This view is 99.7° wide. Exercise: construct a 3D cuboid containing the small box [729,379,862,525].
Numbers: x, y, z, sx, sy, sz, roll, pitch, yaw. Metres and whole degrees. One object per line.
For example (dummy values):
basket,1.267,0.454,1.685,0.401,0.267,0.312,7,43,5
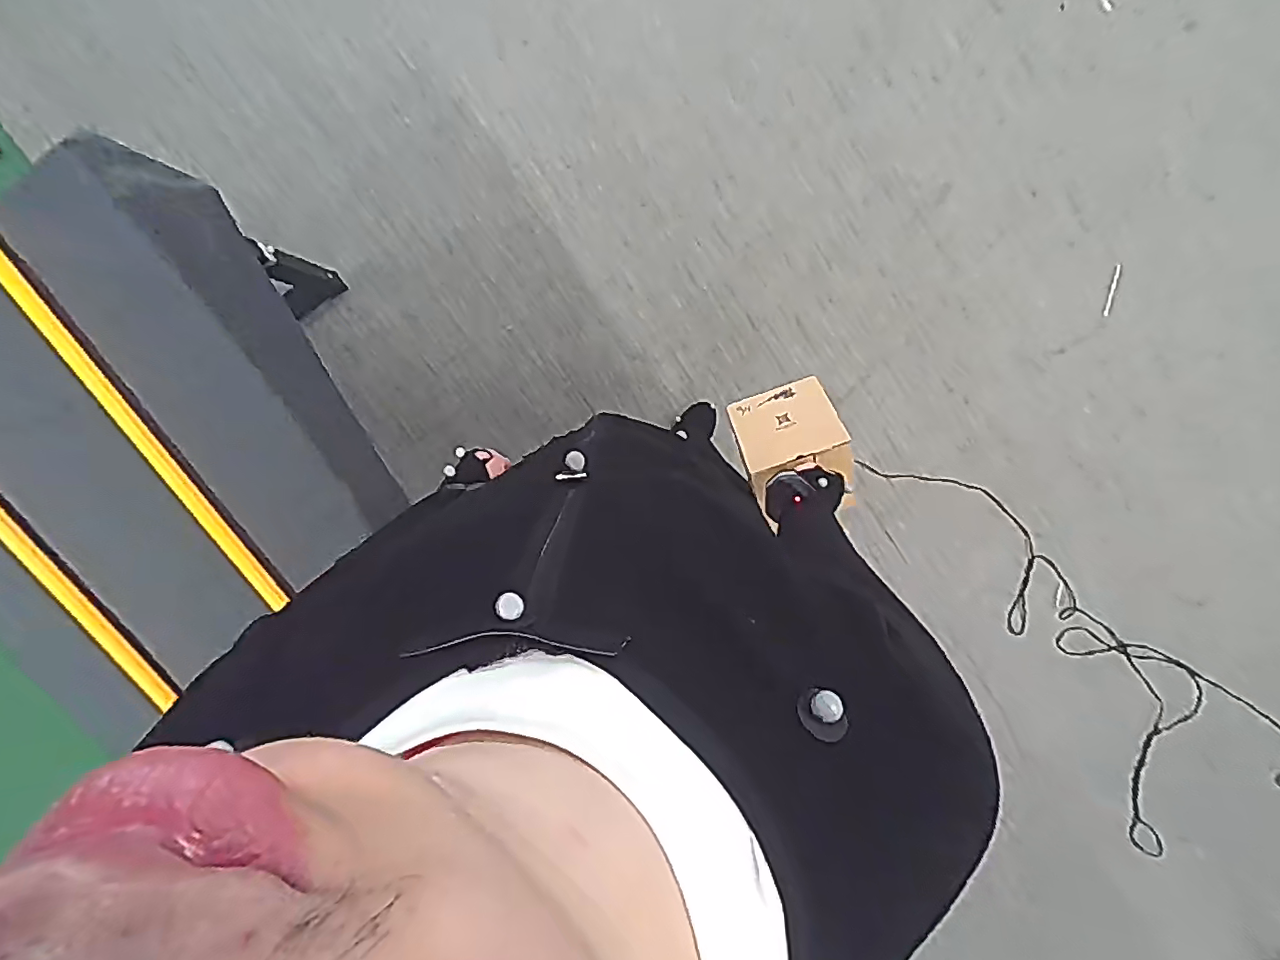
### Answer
small box,0.278,-0.041,0.962,0.168,0.179,0.176,-22,135,10
